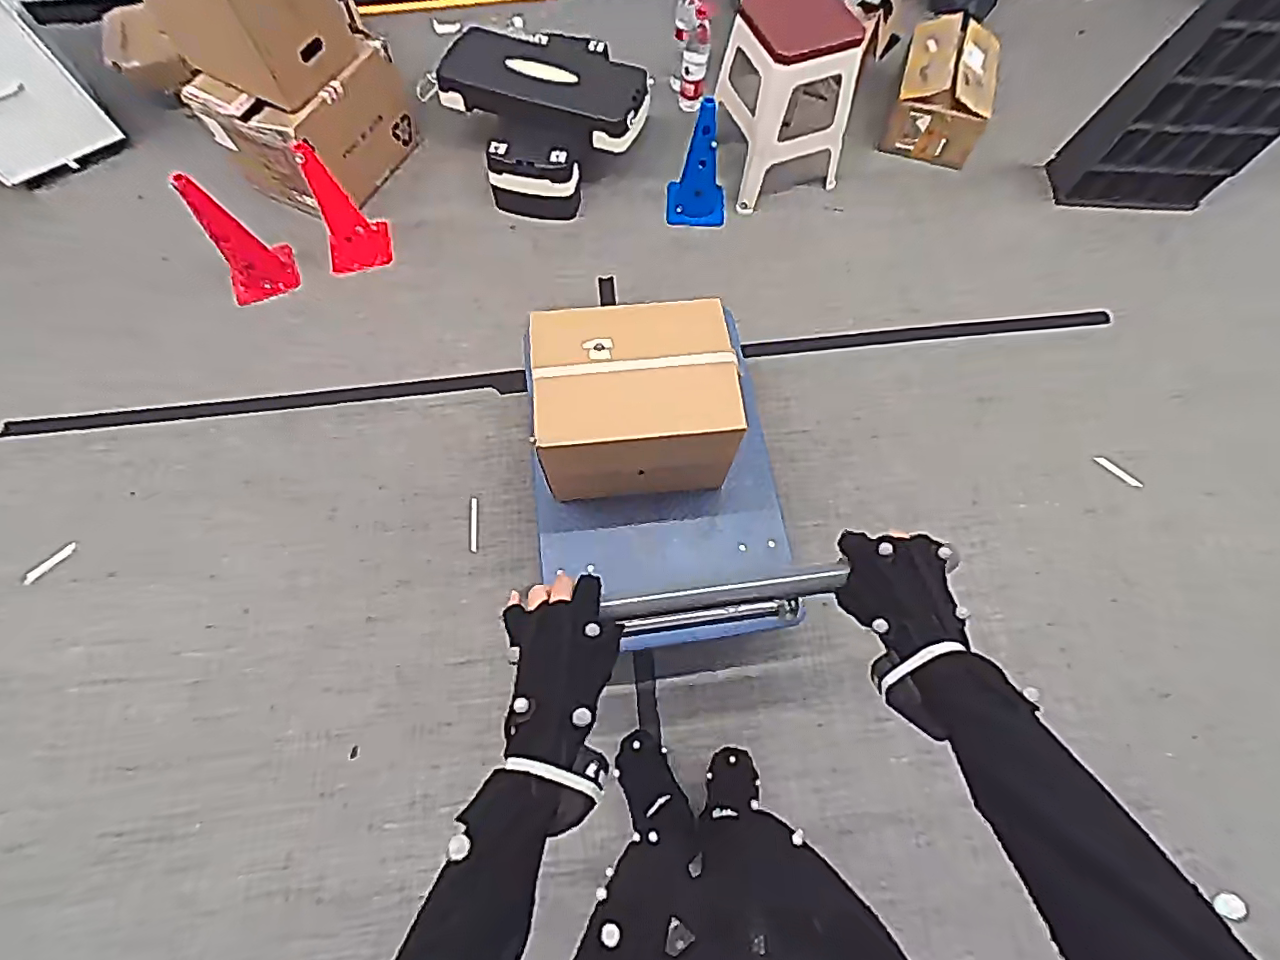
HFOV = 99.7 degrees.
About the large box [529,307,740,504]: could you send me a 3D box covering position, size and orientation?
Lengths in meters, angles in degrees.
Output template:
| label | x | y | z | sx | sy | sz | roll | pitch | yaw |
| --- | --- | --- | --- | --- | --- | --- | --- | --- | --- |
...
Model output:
| label | x | y | z | sx | sy | sz | roll | pitch | yaw |
| --- | --- | --- | --- | --- | --- | --- | --- | --- | --- |
| large box | -0.018 | -0.153 | 1.227 | 0.408 | 0.320 | 0.320 | -6 | 68 | -2 |
